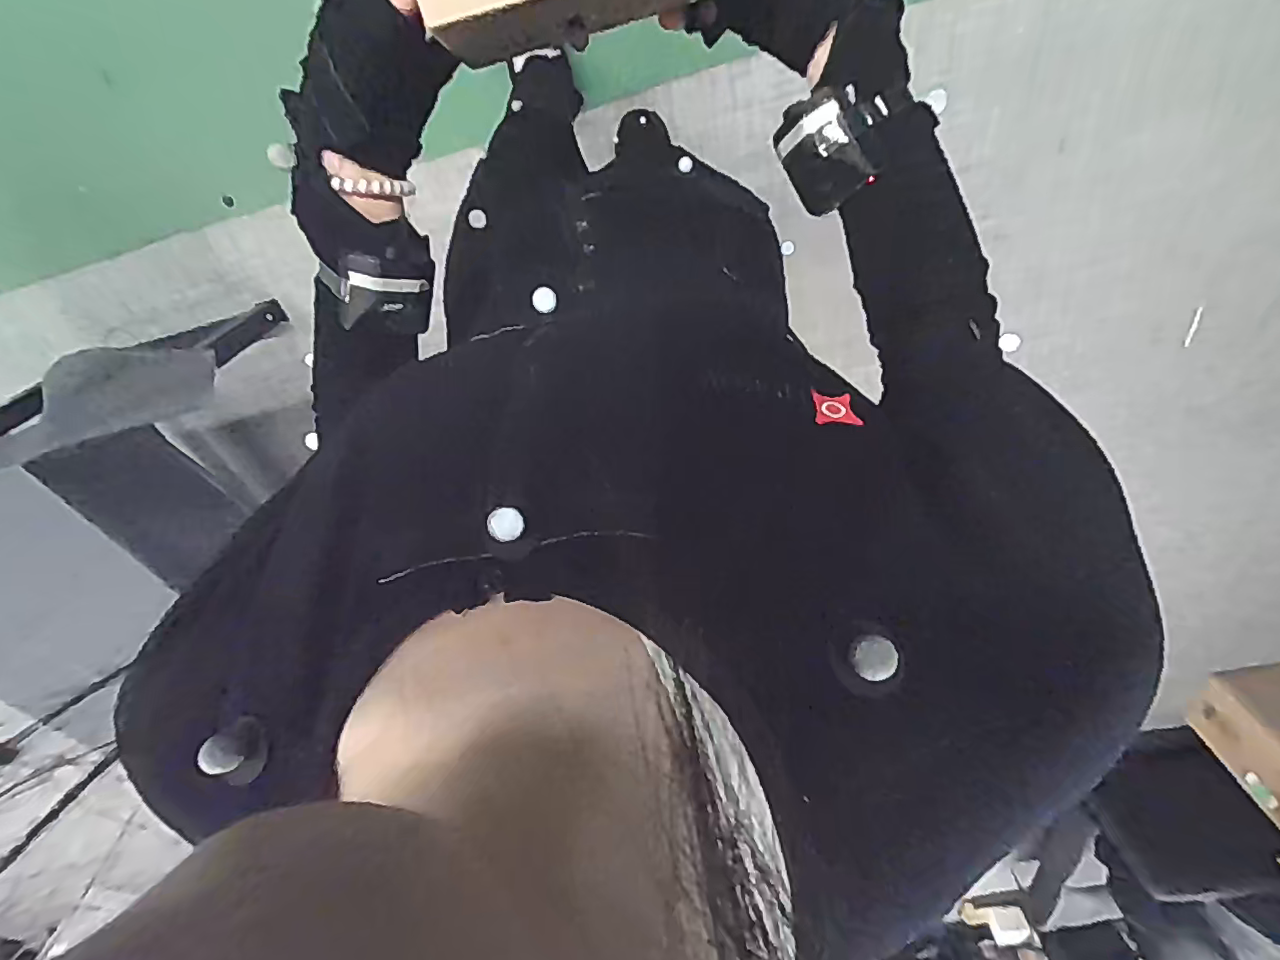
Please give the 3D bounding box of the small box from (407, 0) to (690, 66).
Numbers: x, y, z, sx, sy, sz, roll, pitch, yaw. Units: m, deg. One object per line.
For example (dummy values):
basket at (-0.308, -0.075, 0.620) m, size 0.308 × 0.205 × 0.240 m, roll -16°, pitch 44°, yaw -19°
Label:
small box at (-0.055, -0.341, 0.281) m, size 0.168 × 0.176 × 0.179 m, roll -15°, pitch 123°, yaw 0°
